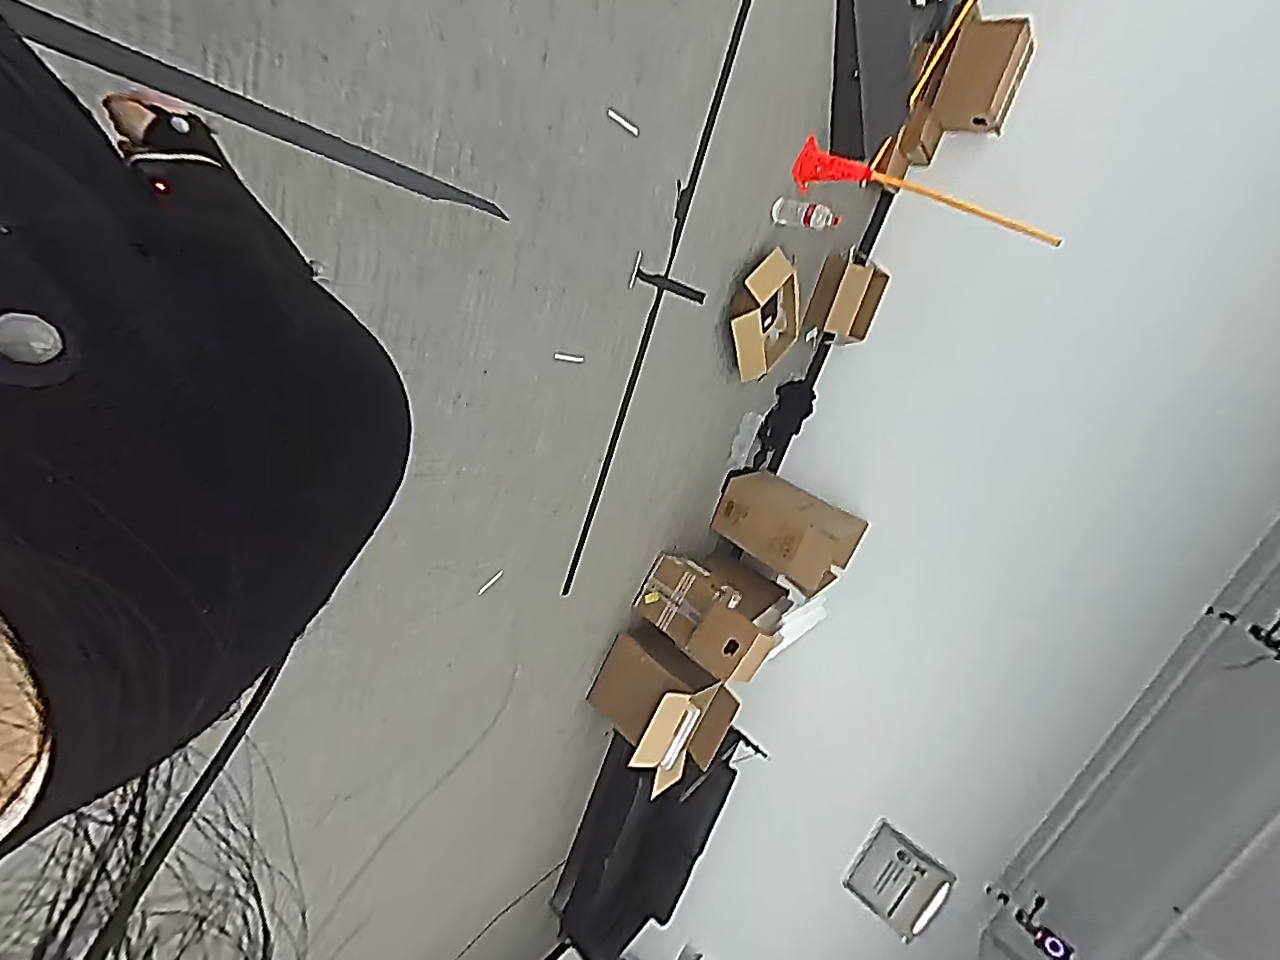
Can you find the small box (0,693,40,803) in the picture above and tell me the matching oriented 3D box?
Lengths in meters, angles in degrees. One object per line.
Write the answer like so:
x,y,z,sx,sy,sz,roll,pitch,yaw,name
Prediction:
-1.434,0.589,1.161,0.168,0.176,0.179,-11,124,-50,small box
